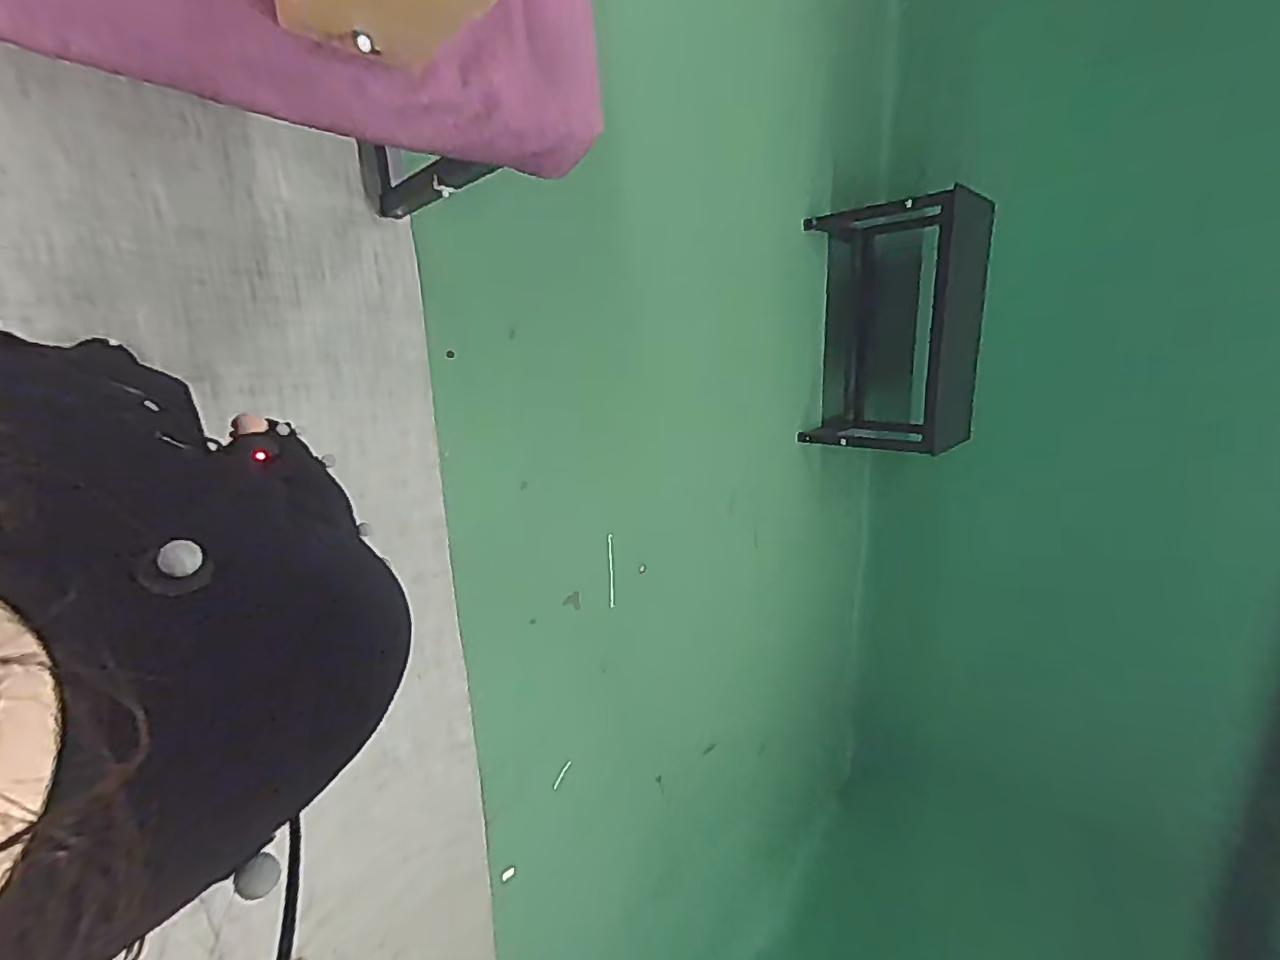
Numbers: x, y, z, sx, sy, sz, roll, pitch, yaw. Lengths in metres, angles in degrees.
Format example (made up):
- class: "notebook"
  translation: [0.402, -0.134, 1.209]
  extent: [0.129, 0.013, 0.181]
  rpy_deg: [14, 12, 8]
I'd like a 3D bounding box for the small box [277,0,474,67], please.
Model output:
- class: "small box"
  translation: [-0.311, -0.621, 0.612]
  extent: [0.168, 0.176, 0.179]
  rpy_deg: [-15, 109, -44]
